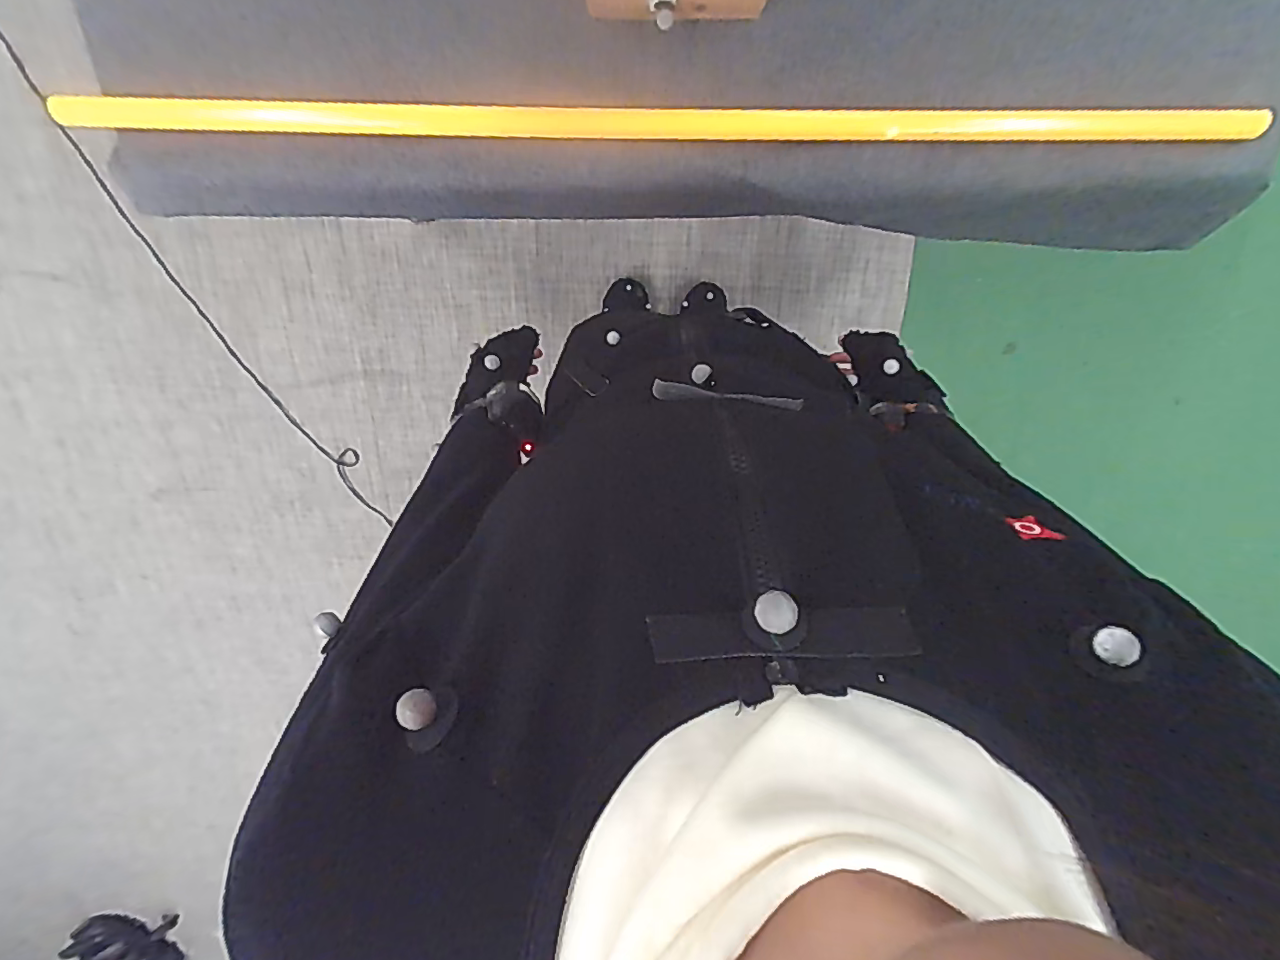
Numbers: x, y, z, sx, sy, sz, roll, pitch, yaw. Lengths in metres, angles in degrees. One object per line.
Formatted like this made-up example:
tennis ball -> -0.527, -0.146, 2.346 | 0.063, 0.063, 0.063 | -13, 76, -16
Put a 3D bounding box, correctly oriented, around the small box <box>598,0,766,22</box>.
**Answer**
small box -> 0.036, -0.502, 0.424 | 0.168, 0.176, 0.179 | -1, 112, 1
